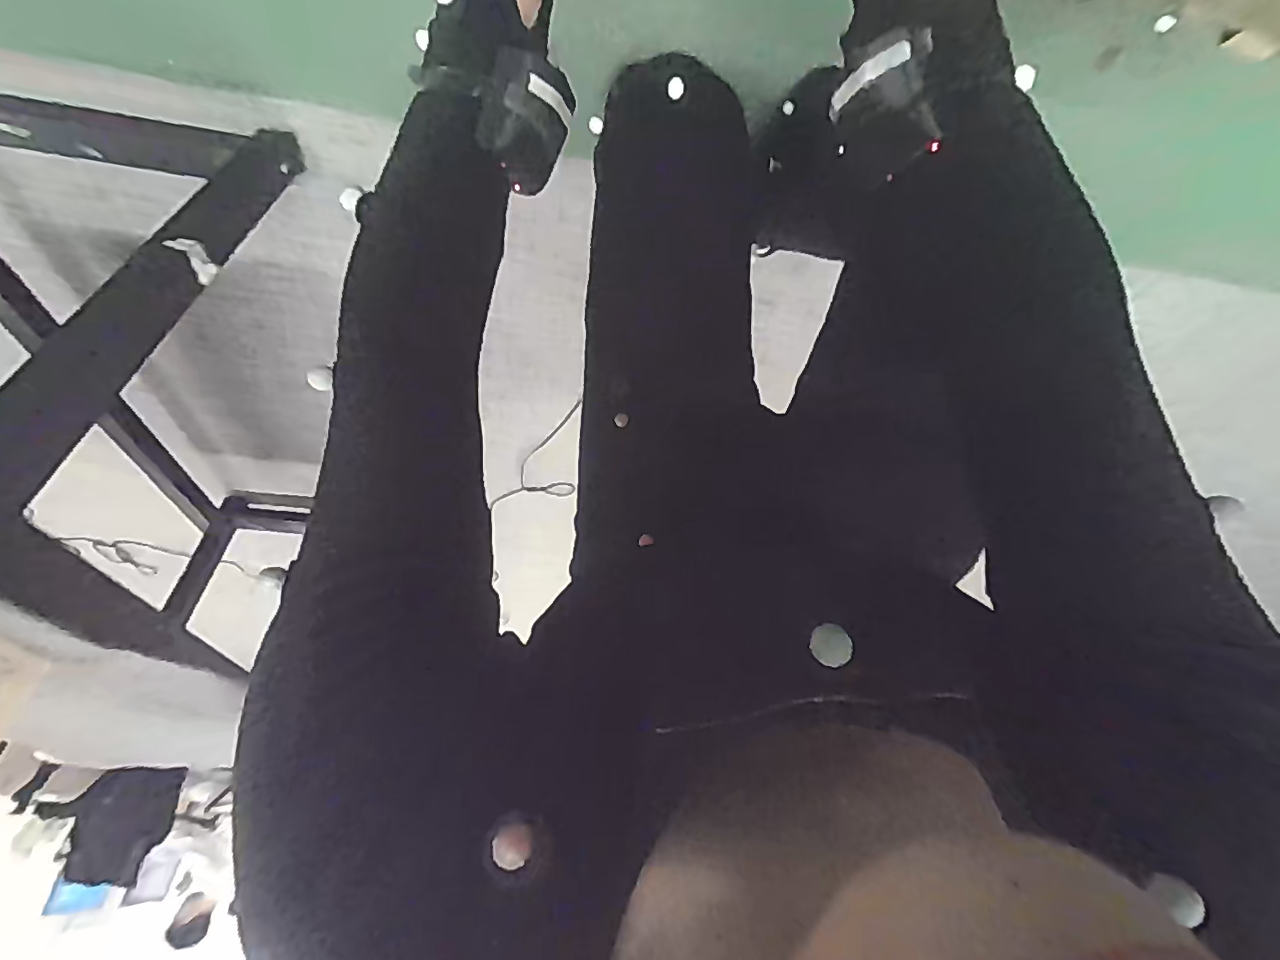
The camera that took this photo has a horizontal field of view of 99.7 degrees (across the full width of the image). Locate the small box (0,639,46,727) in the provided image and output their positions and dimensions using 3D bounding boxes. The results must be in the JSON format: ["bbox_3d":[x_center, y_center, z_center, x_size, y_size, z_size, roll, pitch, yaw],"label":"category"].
[{"bbox_3d":[-0.732,0.212,0.488,0.179,0.176,0.168,12,144,-11],"label":"small box"}]
